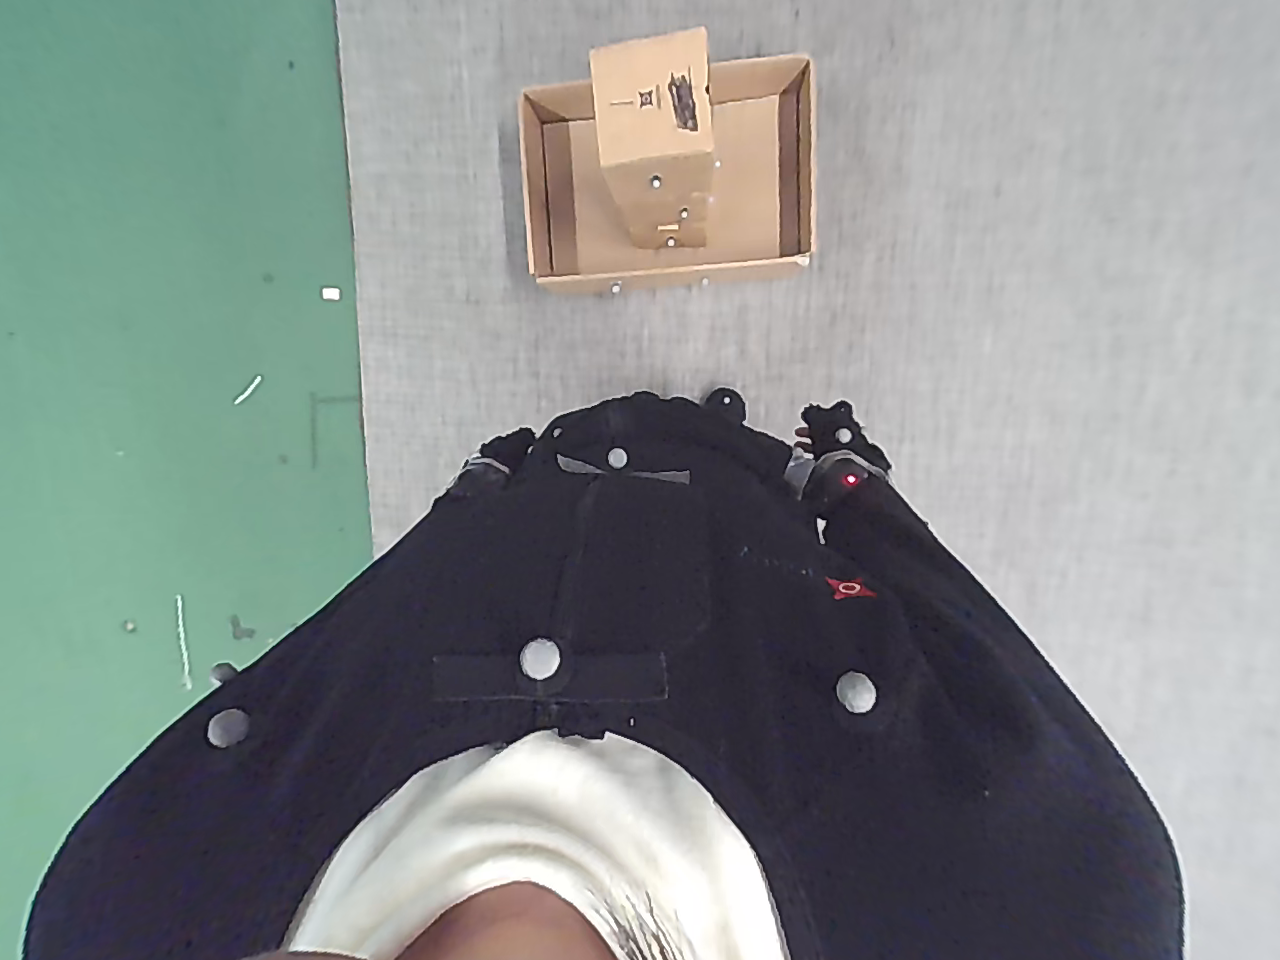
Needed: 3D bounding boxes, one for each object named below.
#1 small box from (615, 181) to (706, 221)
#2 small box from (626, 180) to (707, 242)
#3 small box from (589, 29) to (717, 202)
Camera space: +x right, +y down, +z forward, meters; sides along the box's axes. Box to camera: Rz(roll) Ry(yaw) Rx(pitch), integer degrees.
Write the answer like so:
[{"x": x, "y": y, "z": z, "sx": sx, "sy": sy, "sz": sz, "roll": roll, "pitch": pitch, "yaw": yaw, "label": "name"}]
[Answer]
[{"x": 0.043, "y": -0.613, "z": 1.041, "sx": 0.168, "sy": 0.176, "sz": 0.179, "roll": 0, "pitch": 98, "yaw": 7, "label": "small box"}, {"x": 0.063, "y": -0.637, "z": 1.200, "sx": 0.168, "sy": 0.176, "sz": 0.179, "roll": 1, "pitch": 99, "yaw": 7, "label": "small box"}, {"x": 0.025, "y": -0.578, "z": 0.882, "sx": 0.179, "sy": 0.176, "sz": 0.168, "roll": -7, "pitch": 99, "yaw": 7, "label": "small box"}]
